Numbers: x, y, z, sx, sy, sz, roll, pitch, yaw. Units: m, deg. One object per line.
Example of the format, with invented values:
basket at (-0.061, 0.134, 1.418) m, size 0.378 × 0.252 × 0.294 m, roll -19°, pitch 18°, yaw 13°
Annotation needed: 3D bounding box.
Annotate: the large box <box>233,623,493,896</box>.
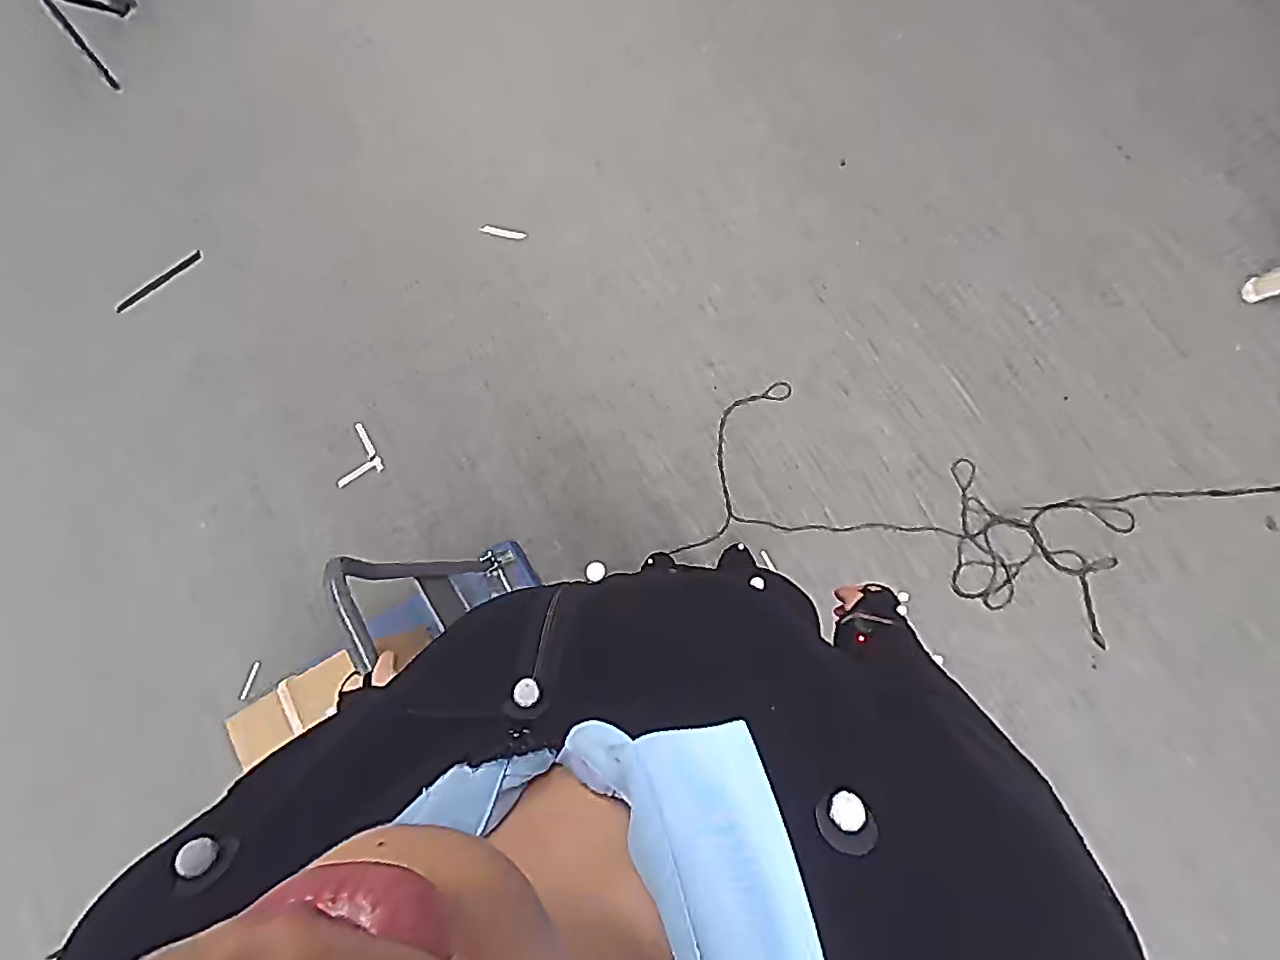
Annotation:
large box at (-0.606, 0.596, 1.237) m, size 0.320 × 0.320 × 0.408 m, roll -31°, pitch 80°, yaw 4°
